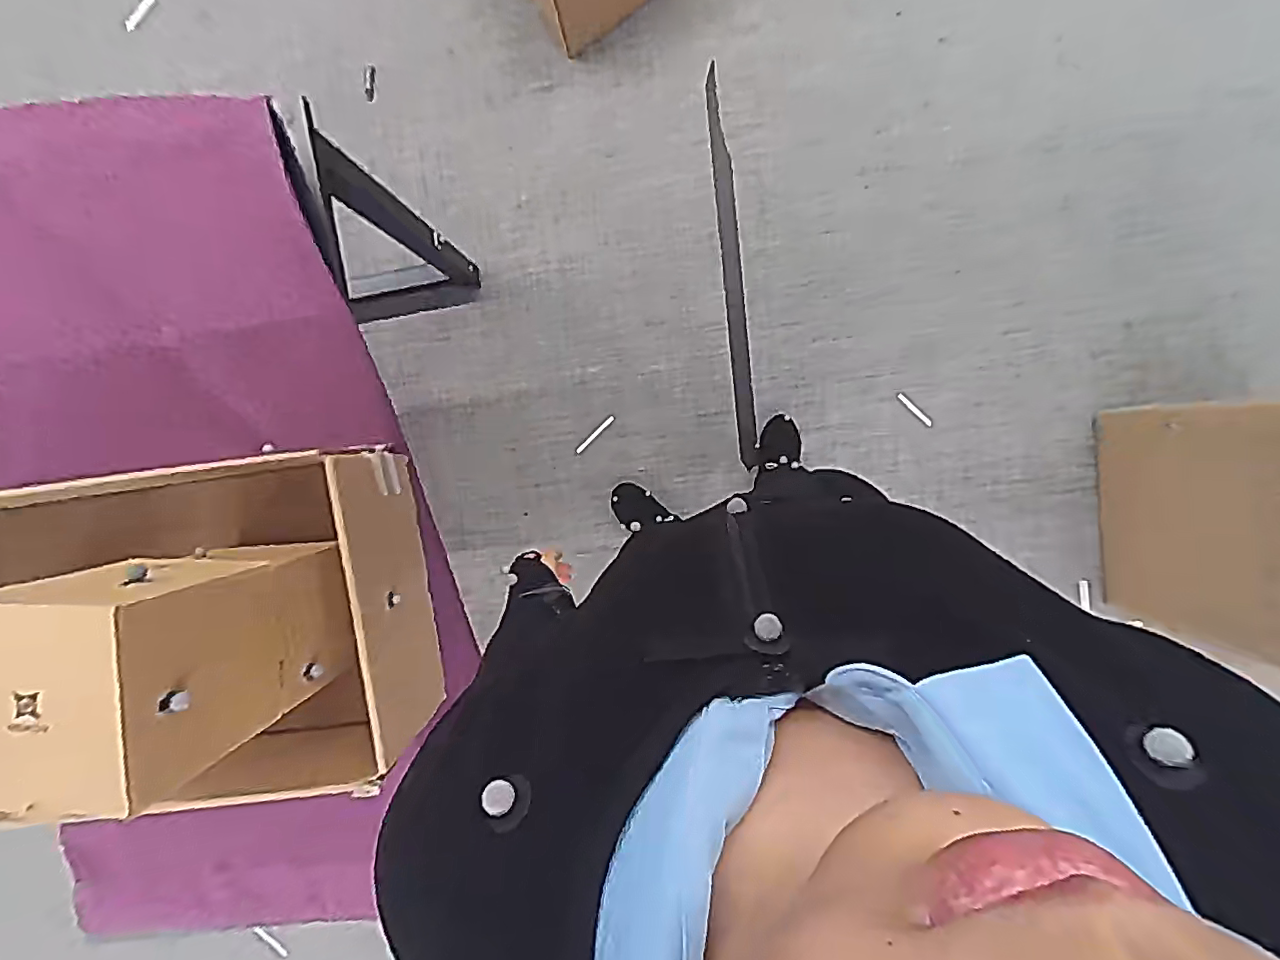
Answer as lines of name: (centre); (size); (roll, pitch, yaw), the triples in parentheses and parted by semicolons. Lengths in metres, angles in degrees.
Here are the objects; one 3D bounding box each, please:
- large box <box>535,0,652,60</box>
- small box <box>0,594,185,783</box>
large box: (-0.099, -1.307, 1.232); (0.408, 0.320, 0.320); (-34, 92, 6)
small box: (-0.732, 0.251, 0.679); (0.168, 0.176, 0.179); (-11, 92, 3)
